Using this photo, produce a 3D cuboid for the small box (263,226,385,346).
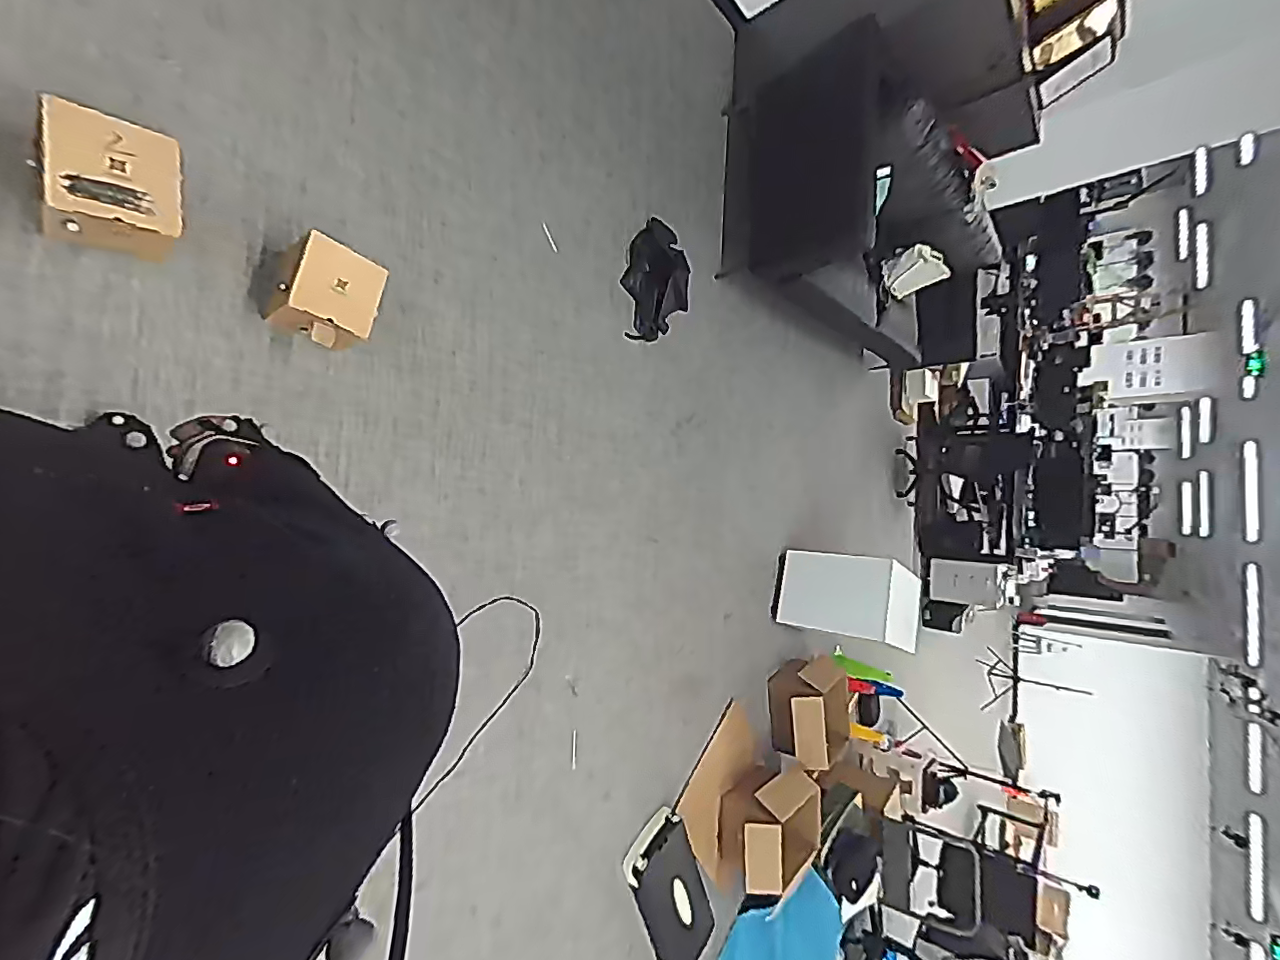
[{"bbox_3d":[-0.701,-0.418,1.197,0.168,0.176,0.179,23,74,-48],"label":"small box"}]
